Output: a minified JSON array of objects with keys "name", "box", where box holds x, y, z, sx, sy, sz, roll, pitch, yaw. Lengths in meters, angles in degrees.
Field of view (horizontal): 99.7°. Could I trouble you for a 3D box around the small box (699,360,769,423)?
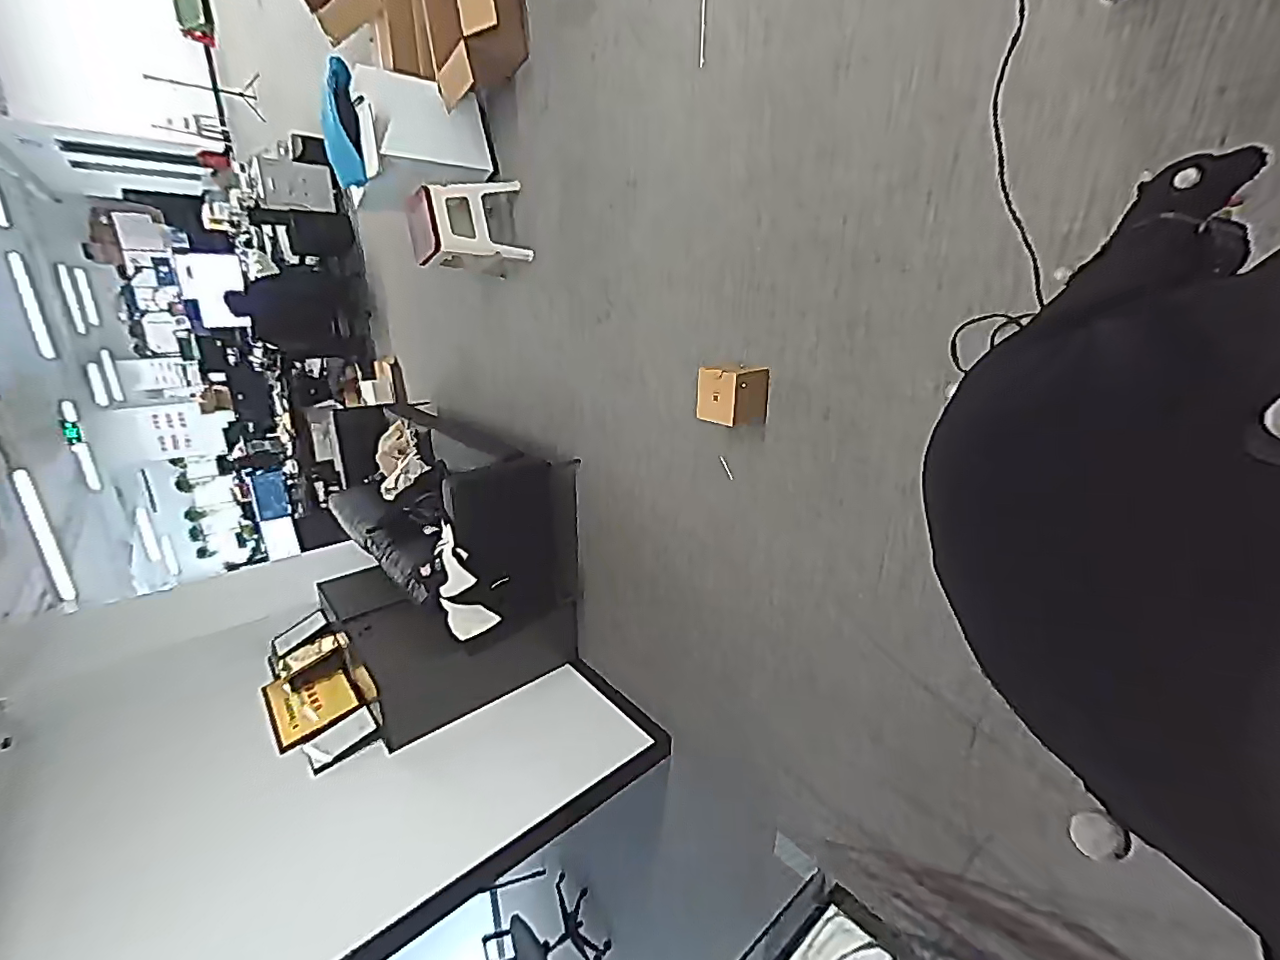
[{"name":"small box","box":[0.318,-0.302,1.828,0.168,0.176,0.179,22,119,46]}]
